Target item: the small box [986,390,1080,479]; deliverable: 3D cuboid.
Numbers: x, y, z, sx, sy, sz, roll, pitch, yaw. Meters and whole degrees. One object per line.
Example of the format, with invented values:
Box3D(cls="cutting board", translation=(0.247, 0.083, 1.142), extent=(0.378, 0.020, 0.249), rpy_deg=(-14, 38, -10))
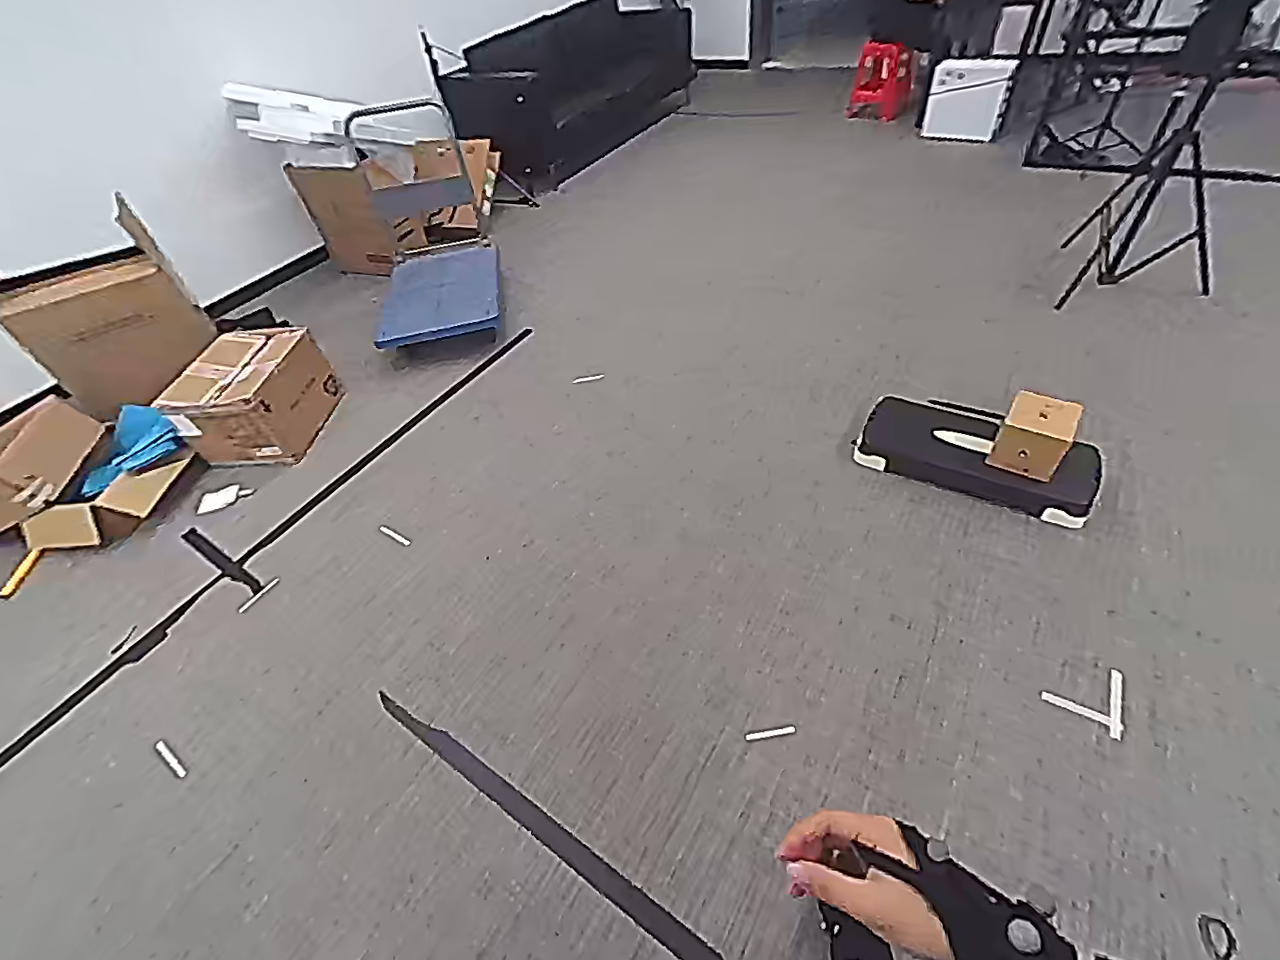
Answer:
Box3D(cls="small box", translation=(1.155, -0.131, 1.602), extent=(0.168, 0.176, 0.179), rpy_deg=(25, 55, 28))
